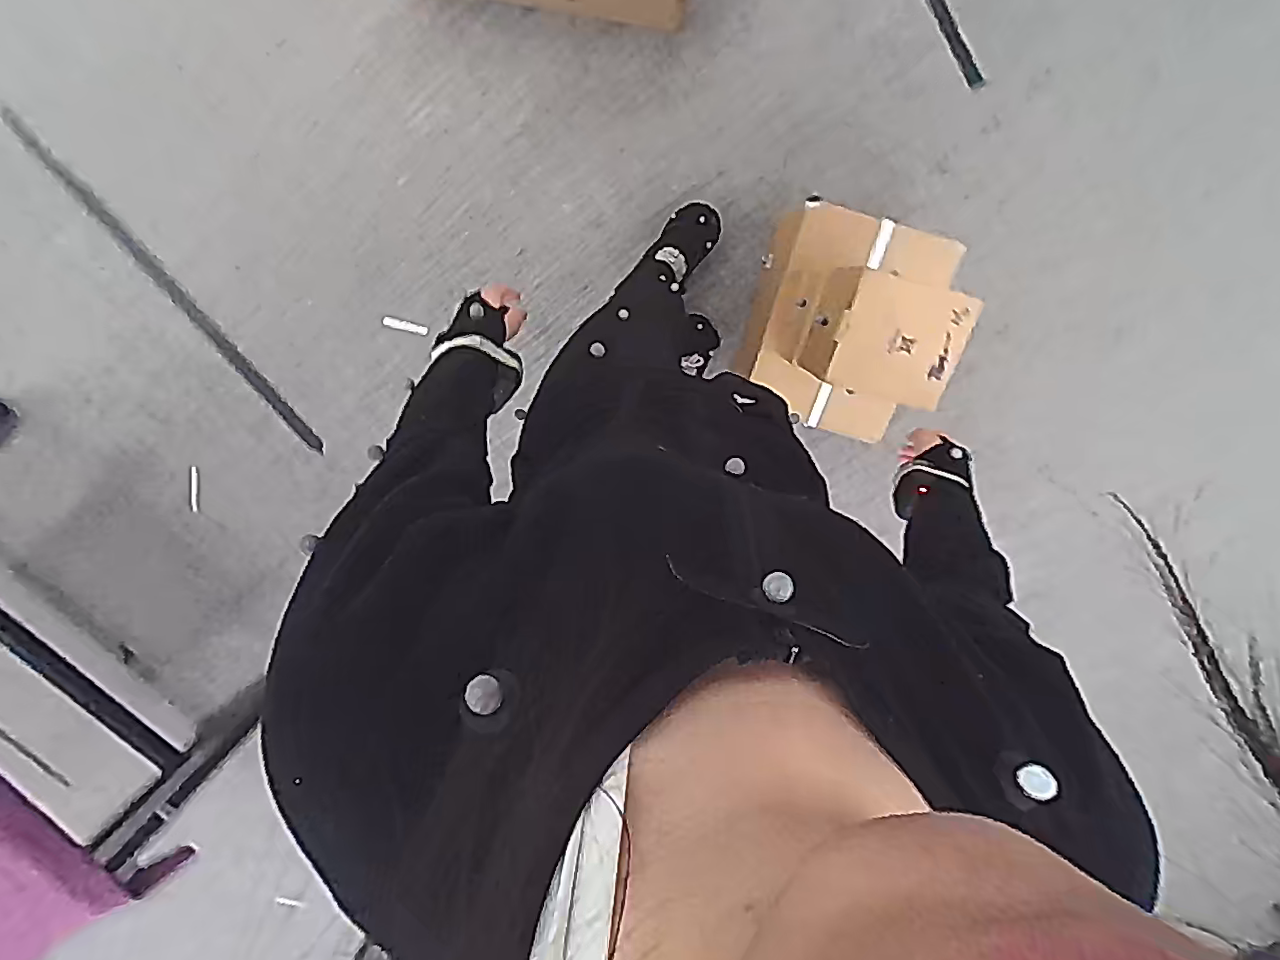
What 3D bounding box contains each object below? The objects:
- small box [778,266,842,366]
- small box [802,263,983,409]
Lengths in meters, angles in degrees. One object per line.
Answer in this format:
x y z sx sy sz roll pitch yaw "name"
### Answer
0.371 -0.281 0.992 0.179 0.176 0.168 15 110 -3 "small box"
0.371 -0.225 0.837 0.179 0.176 0.168 16 111 -2 "small box"
